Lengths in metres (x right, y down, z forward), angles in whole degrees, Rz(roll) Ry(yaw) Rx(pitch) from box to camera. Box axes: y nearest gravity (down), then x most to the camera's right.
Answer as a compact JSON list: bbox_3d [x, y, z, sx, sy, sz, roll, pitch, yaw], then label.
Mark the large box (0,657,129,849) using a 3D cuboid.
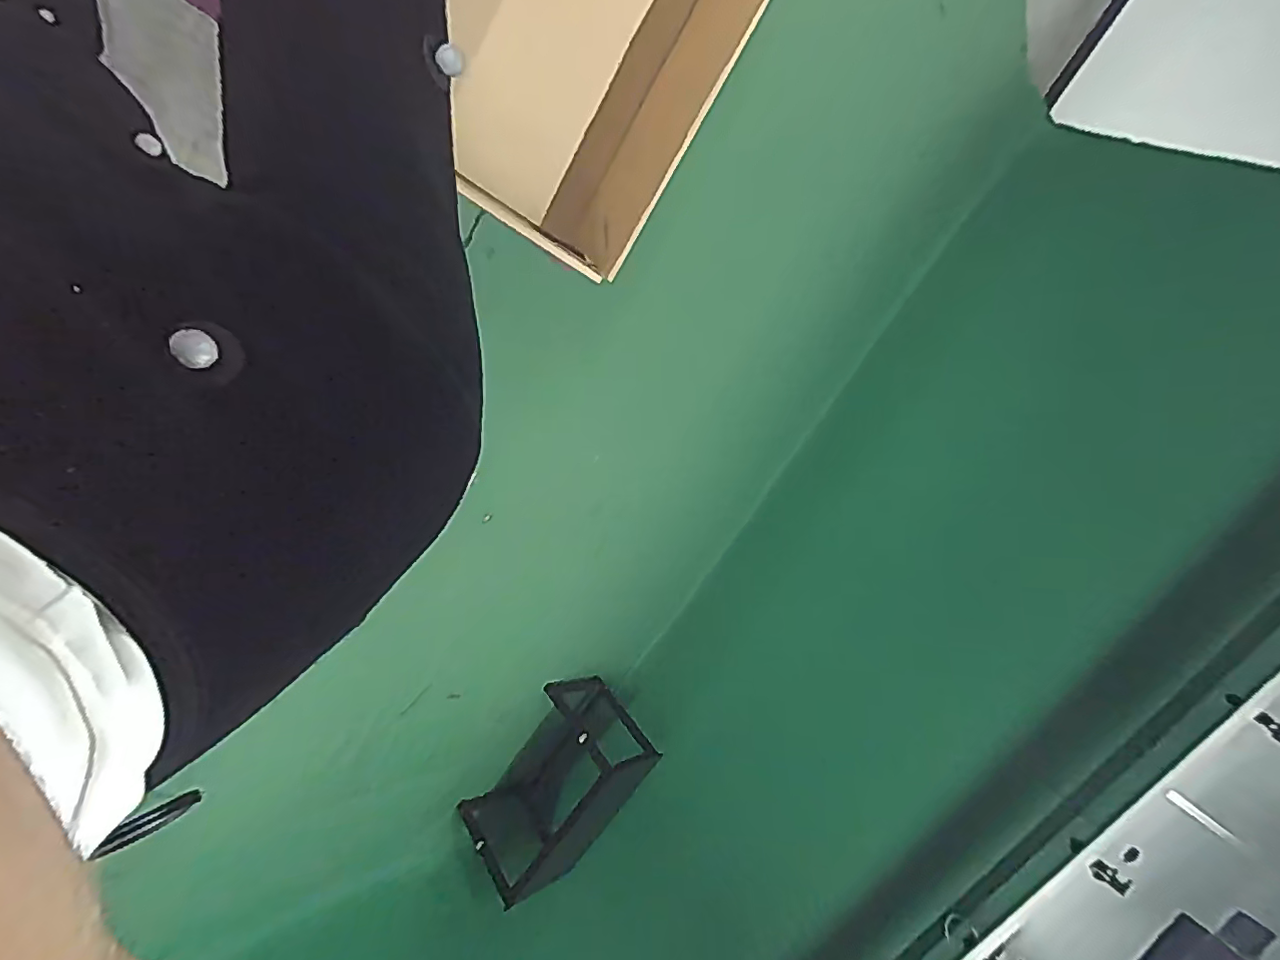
[{"bbox_3d":[-1.753,0.776,1.490,0.408,0.320,0.320,-23,141,-35],"label":"large box"}]
